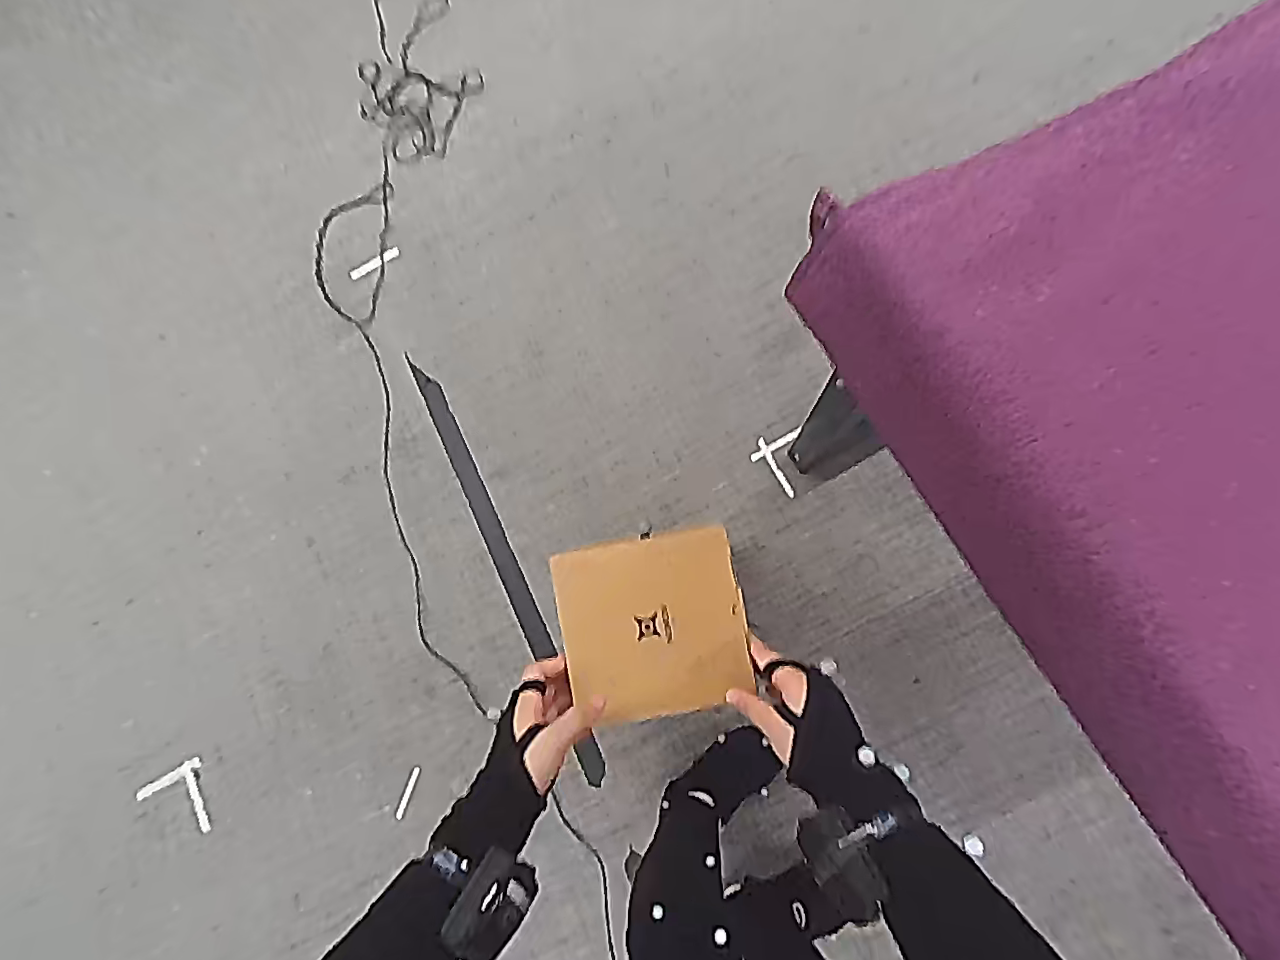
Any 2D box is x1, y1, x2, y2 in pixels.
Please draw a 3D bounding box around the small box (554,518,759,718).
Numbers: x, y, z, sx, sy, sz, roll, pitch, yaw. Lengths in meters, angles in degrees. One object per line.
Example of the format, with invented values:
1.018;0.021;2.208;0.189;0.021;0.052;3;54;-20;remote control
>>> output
0.018;0.141;0.599;0.179;0.176;0.168;-12;85;1;small box
